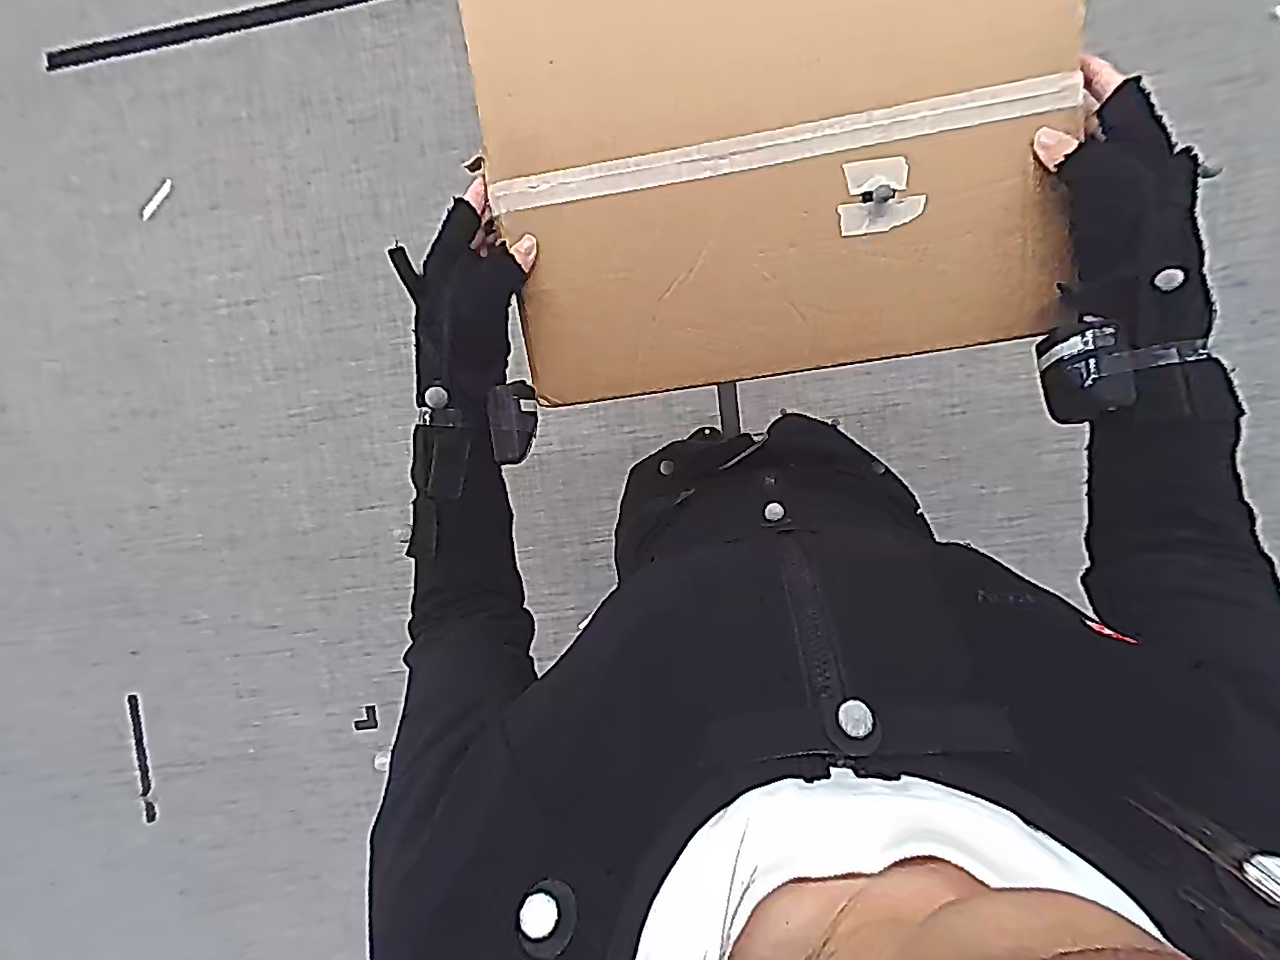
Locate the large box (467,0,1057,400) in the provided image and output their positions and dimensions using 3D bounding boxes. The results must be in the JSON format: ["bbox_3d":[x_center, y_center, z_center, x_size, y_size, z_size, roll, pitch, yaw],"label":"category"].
[{"bbox_3d":[0.100,-0.274,0.541,0.408,0.320,0.320,-8,103,5],"label":"large box"}]
